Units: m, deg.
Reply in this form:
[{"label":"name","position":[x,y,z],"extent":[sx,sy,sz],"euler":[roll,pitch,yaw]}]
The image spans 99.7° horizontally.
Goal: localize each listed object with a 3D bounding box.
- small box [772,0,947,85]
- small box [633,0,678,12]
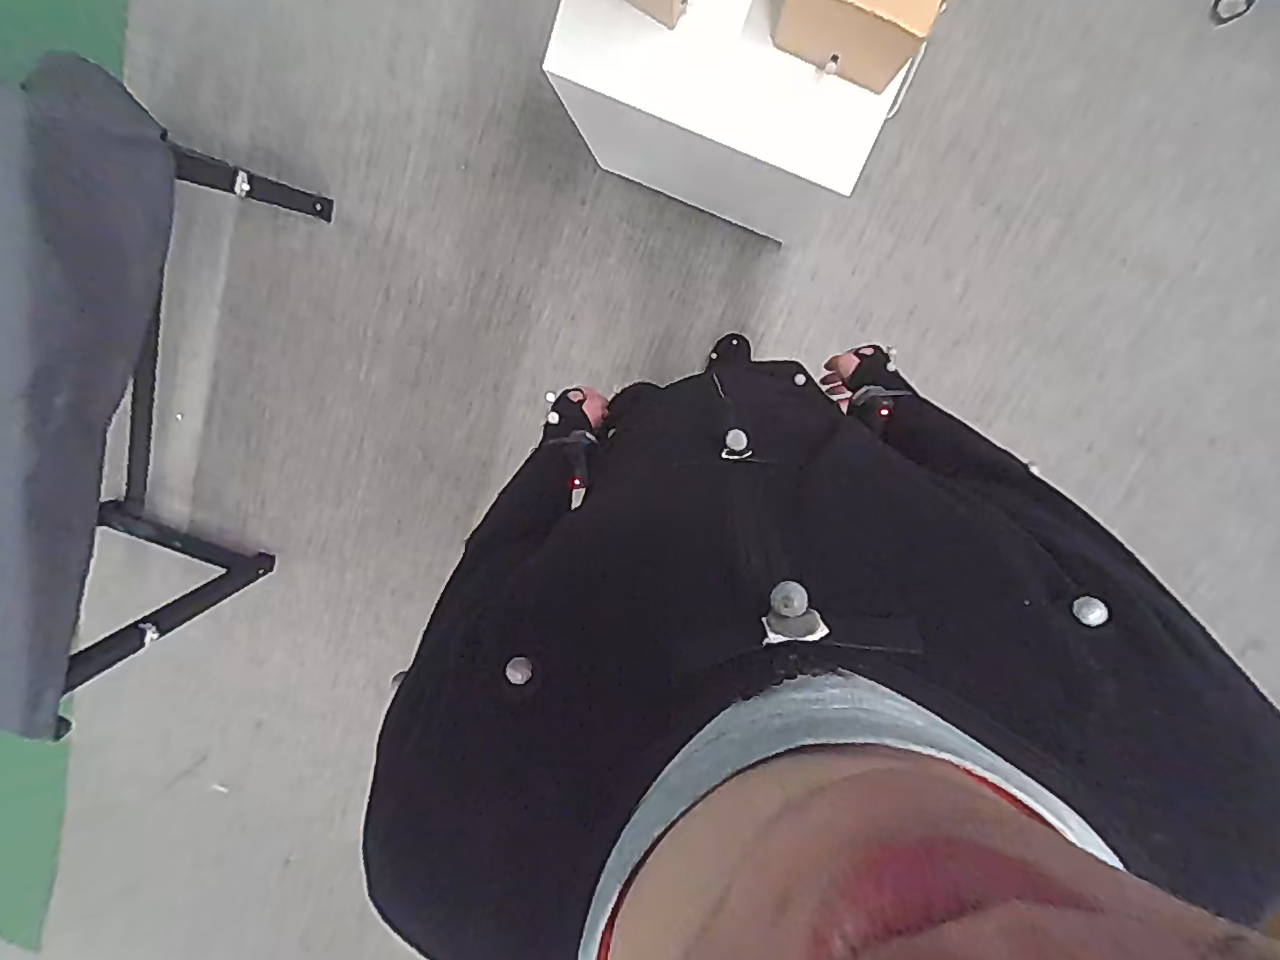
[{"label":"small box","position":[0.290,-0.638,0.676],"extent":[0.179,0.176,0.168],"euler":[23,106,-3]},{"label":"small box","position":[0.005,-0.736,0.665],"extent":[0.179,0.176,0.168],"euler":[30,105,-5]}]
